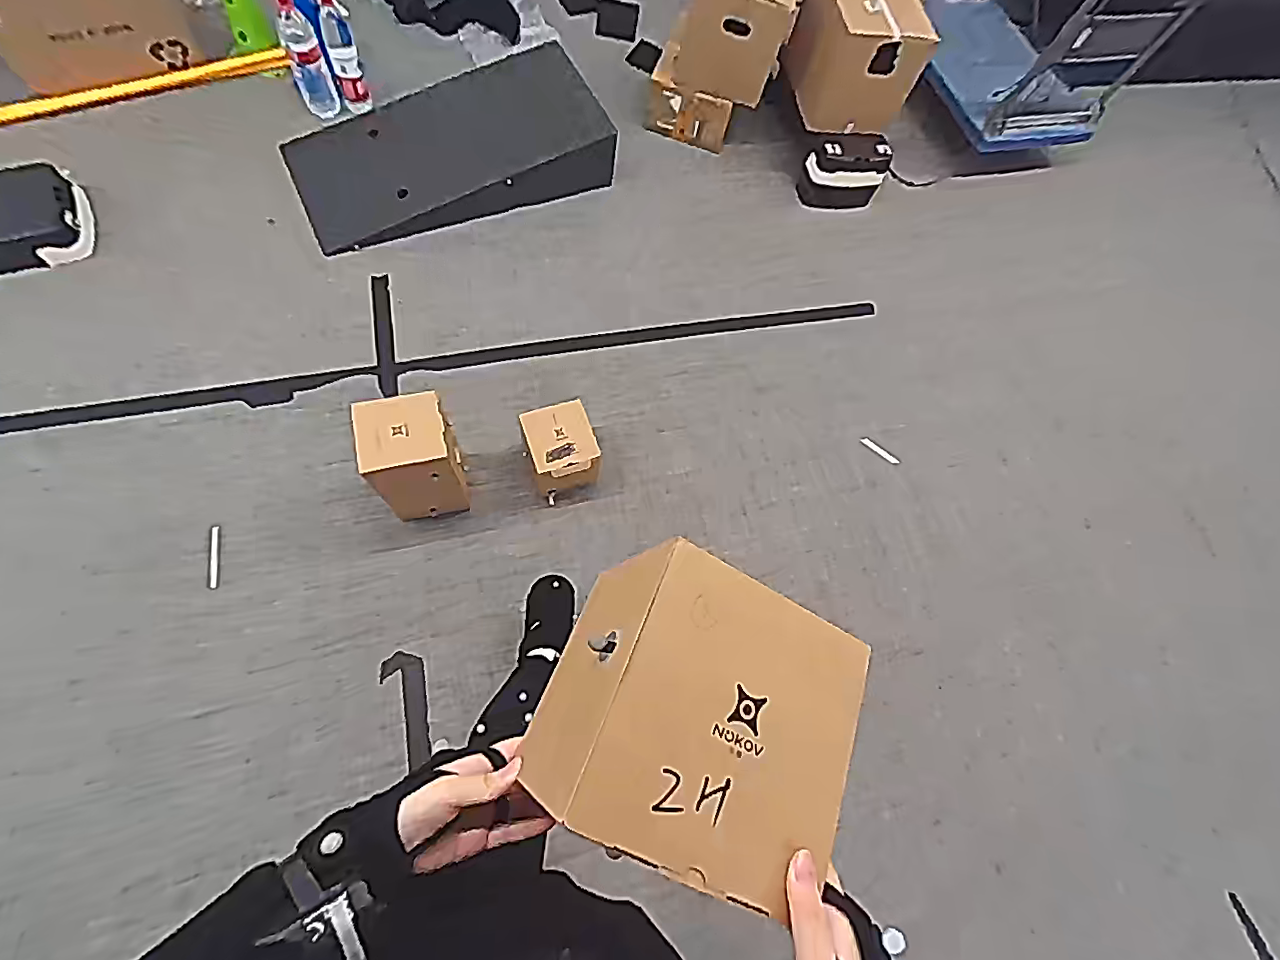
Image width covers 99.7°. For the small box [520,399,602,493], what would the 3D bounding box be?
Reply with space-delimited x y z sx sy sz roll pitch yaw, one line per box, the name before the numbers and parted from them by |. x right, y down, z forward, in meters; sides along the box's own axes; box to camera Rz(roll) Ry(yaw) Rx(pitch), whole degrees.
small box | -0.206 -0.080 1.411 0.168 0.176 0.179 -16 71 -15

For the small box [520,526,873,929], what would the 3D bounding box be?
small box | 0.030 0.161 0.391 0.168 0.176 0.179 31 64 -10

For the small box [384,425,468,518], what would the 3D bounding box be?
small box | -0.526 -0.017 1.334 0.179 0.176 0.168 -10 70 -13

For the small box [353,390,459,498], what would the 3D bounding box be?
small box | -0.503 -0.075 1.182 0.179 0.176 0.168 -12 70 -13
